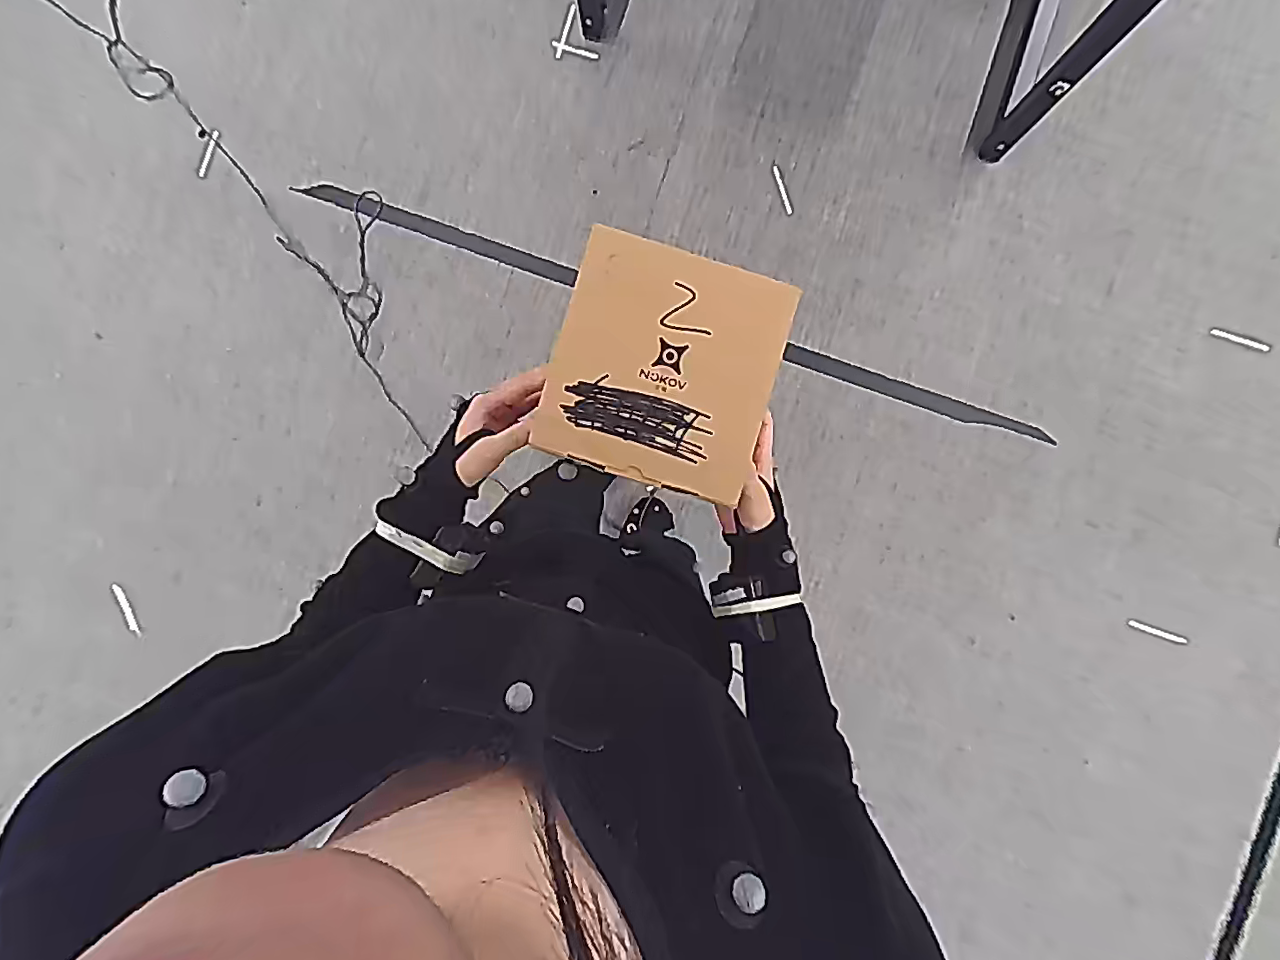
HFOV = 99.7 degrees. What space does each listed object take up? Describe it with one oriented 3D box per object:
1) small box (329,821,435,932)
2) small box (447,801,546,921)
[{"bbox_3d":[-0.663,1.013,1.407,0.179,0.176,0.168,12,91,1],"label":"small box"},{"bbox_3d":[-0.362,0.970,1.395,0.179,0.176,0.168,20,90,1],"label":"small box"}]
